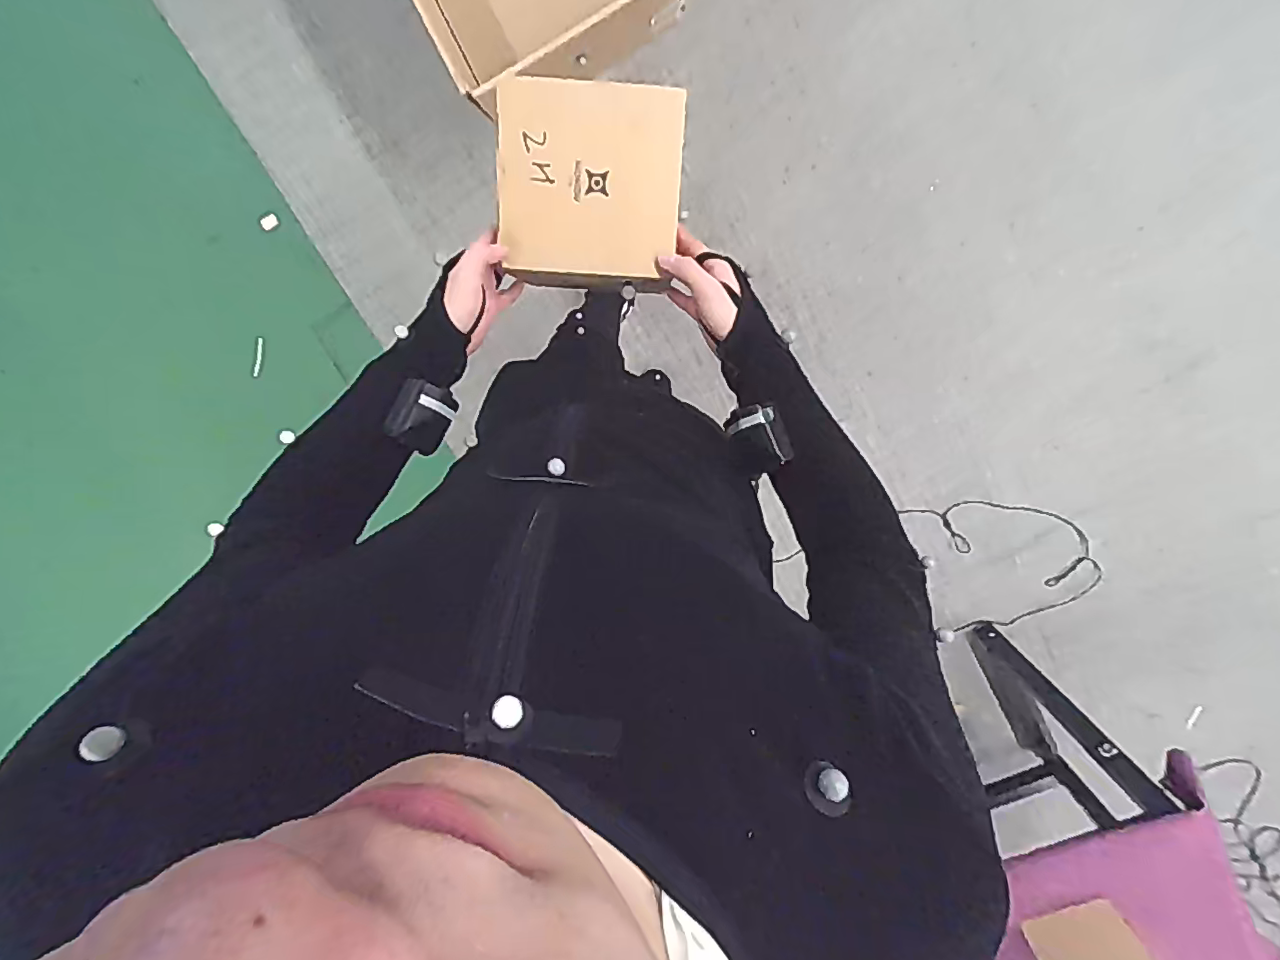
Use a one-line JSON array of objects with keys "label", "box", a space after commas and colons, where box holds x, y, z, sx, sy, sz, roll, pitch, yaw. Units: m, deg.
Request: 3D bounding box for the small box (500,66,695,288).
[{"label": "small box", "box": [-0.044, -0.305, 0.583, 0.179, 0.176, 0.168, 4, 104, -2]}]
